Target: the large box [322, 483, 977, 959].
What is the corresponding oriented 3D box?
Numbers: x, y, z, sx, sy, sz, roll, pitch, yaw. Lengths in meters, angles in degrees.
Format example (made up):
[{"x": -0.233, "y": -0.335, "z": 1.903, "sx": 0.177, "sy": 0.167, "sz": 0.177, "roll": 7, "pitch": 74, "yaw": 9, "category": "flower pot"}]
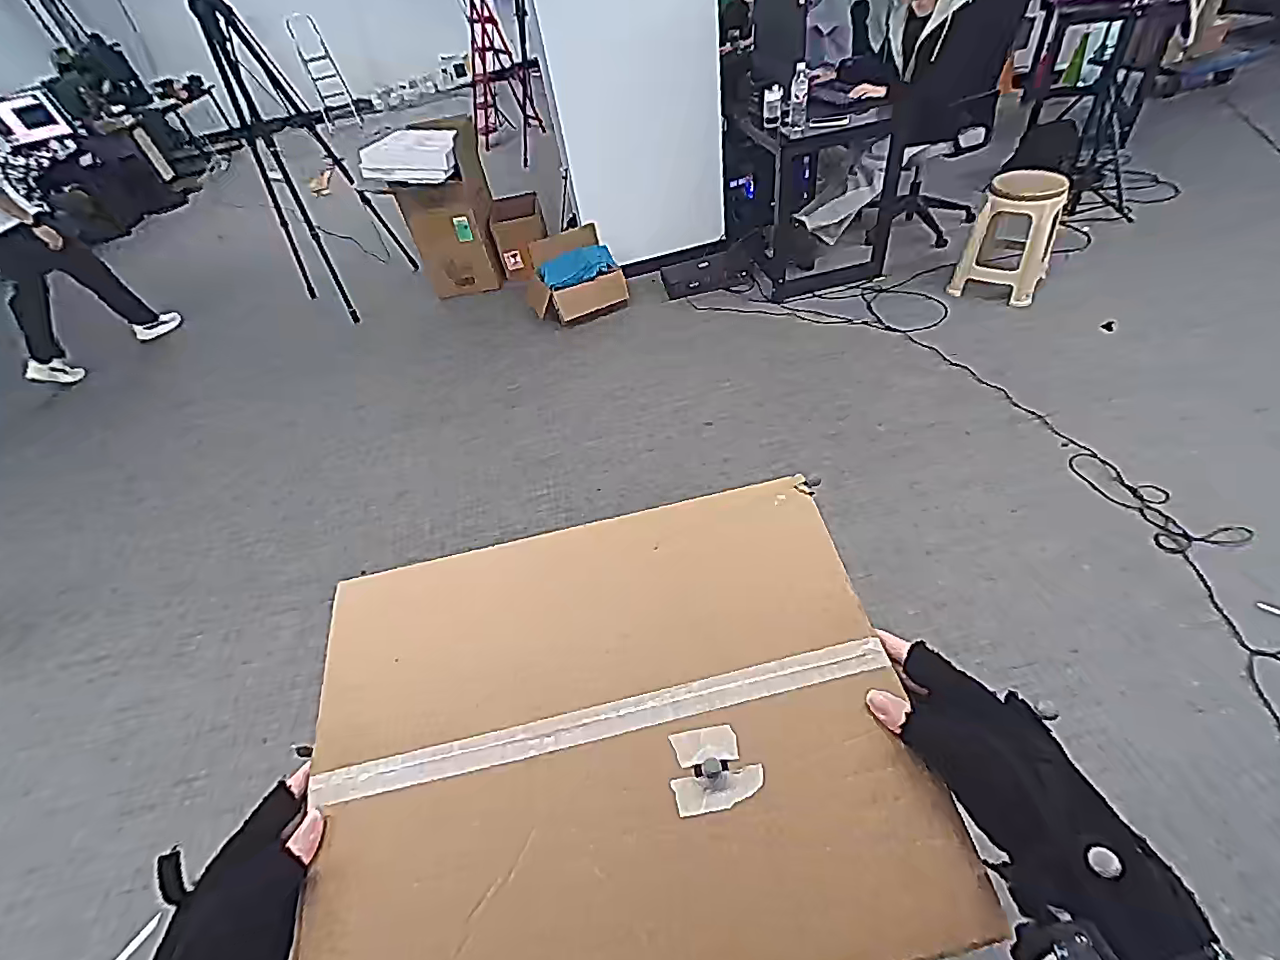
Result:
[{"x": -0.009, "y": 0.252, "z": 0.516, "sx": 0.408, "sy": 0.320, "sz": 0.320, "roll": -13, "pitch": 57, "yaw": -2, "category": "large box"}]
